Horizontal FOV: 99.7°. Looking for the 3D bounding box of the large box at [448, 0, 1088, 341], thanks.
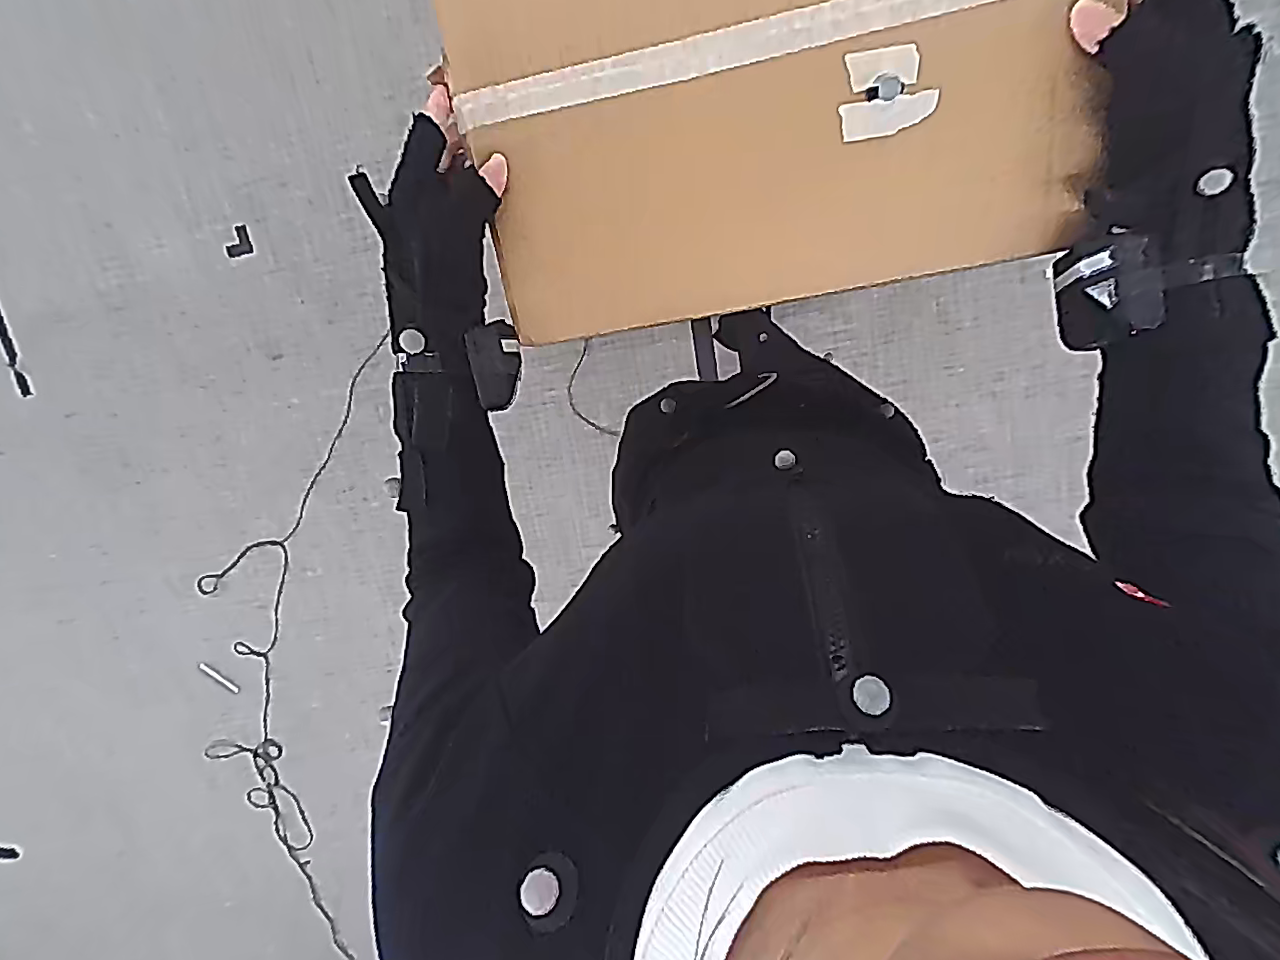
[{"bbox_3d":[0.089,-0.325,0.497,0.408,0.320,0.320,-9,107,7],"label":"large box"}]
